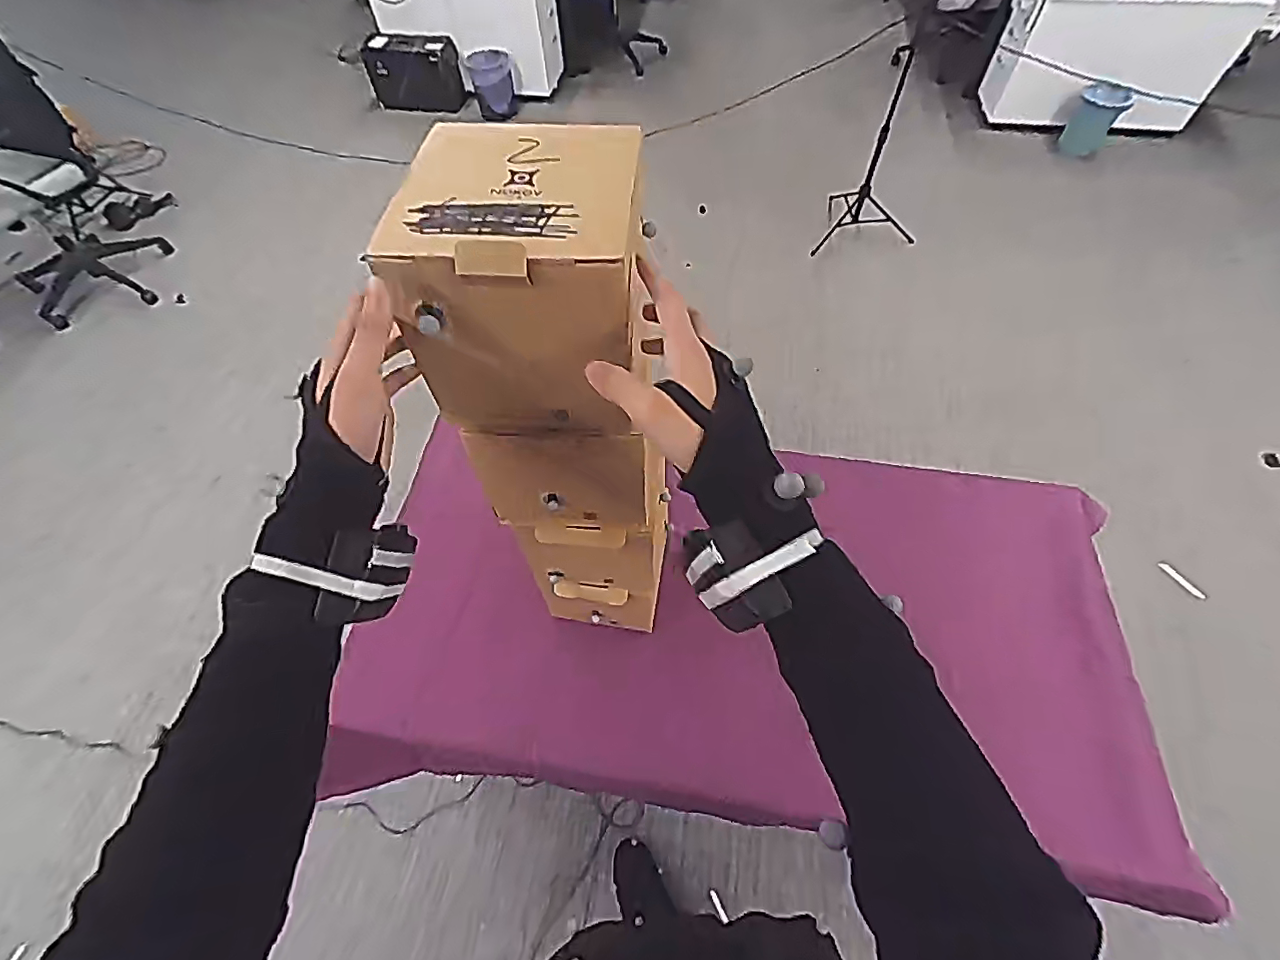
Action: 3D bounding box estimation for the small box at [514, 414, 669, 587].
[{"bbox_3d":[-0.051,0.027,0.714,0.168,0.176,0.179,5,56,4],"label":"small box"}]

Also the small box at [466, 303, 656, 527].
[{"bbox_3d":[-0.068,-0.066,0.582,0.168,0.176,0.179,1,57,2],"label":"small box"}]

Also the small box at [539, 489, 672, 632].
[{"bbox_3d":[-0.046,0.118,0.851,0.168,0.176,0.179,8,58,7],"label":"small box"}]
